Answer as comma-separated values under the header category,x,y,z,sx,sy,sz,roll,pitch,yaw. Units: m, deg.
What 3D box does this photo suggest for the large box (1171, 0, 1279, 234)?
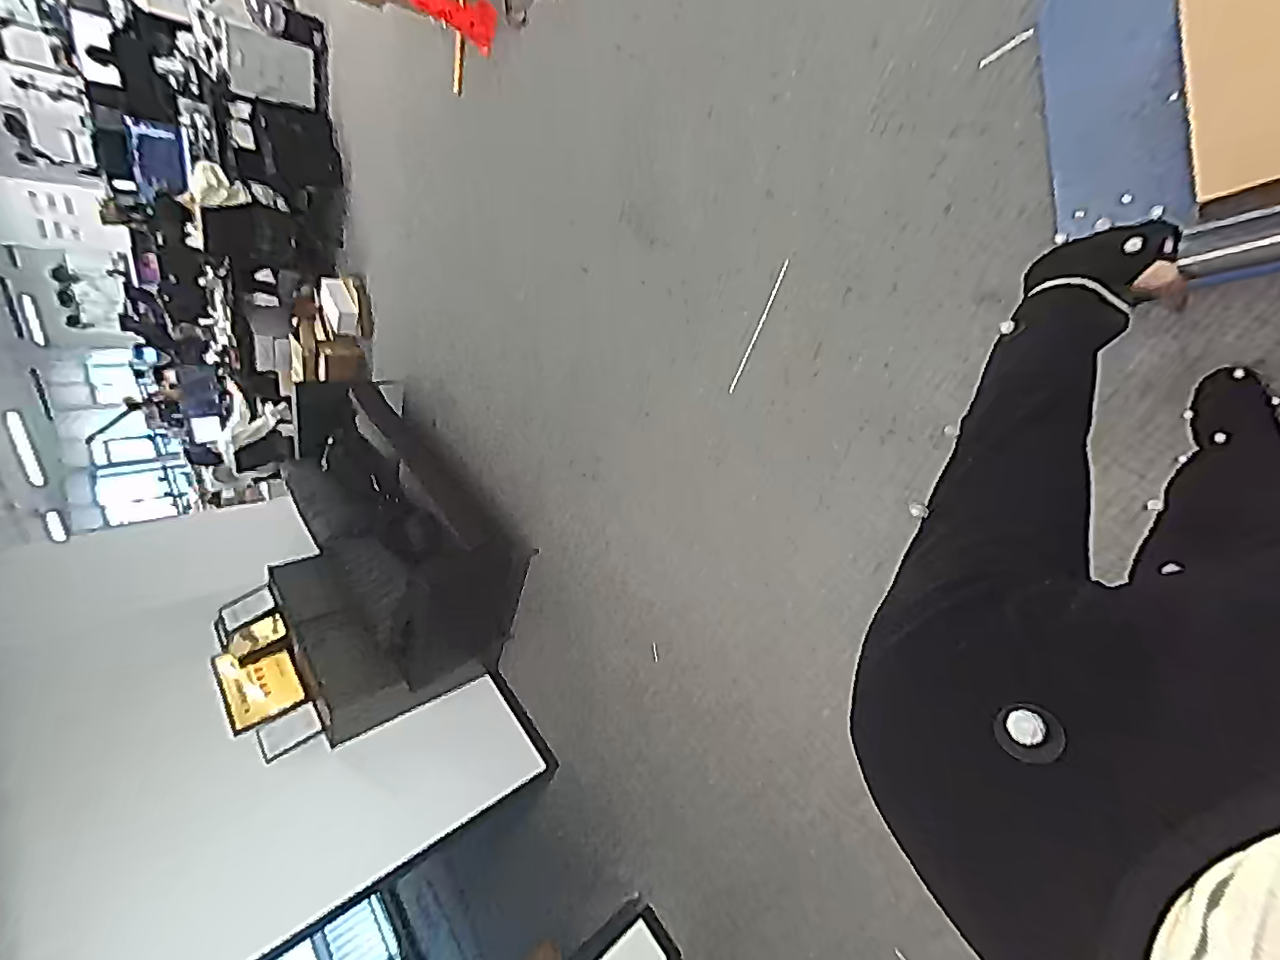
category,x,y,z,sx,sy,sz,roll,pitch,yaw
large box,0.984,-0.624,0.760,0.320,0.320,0.408,-6,96,46
